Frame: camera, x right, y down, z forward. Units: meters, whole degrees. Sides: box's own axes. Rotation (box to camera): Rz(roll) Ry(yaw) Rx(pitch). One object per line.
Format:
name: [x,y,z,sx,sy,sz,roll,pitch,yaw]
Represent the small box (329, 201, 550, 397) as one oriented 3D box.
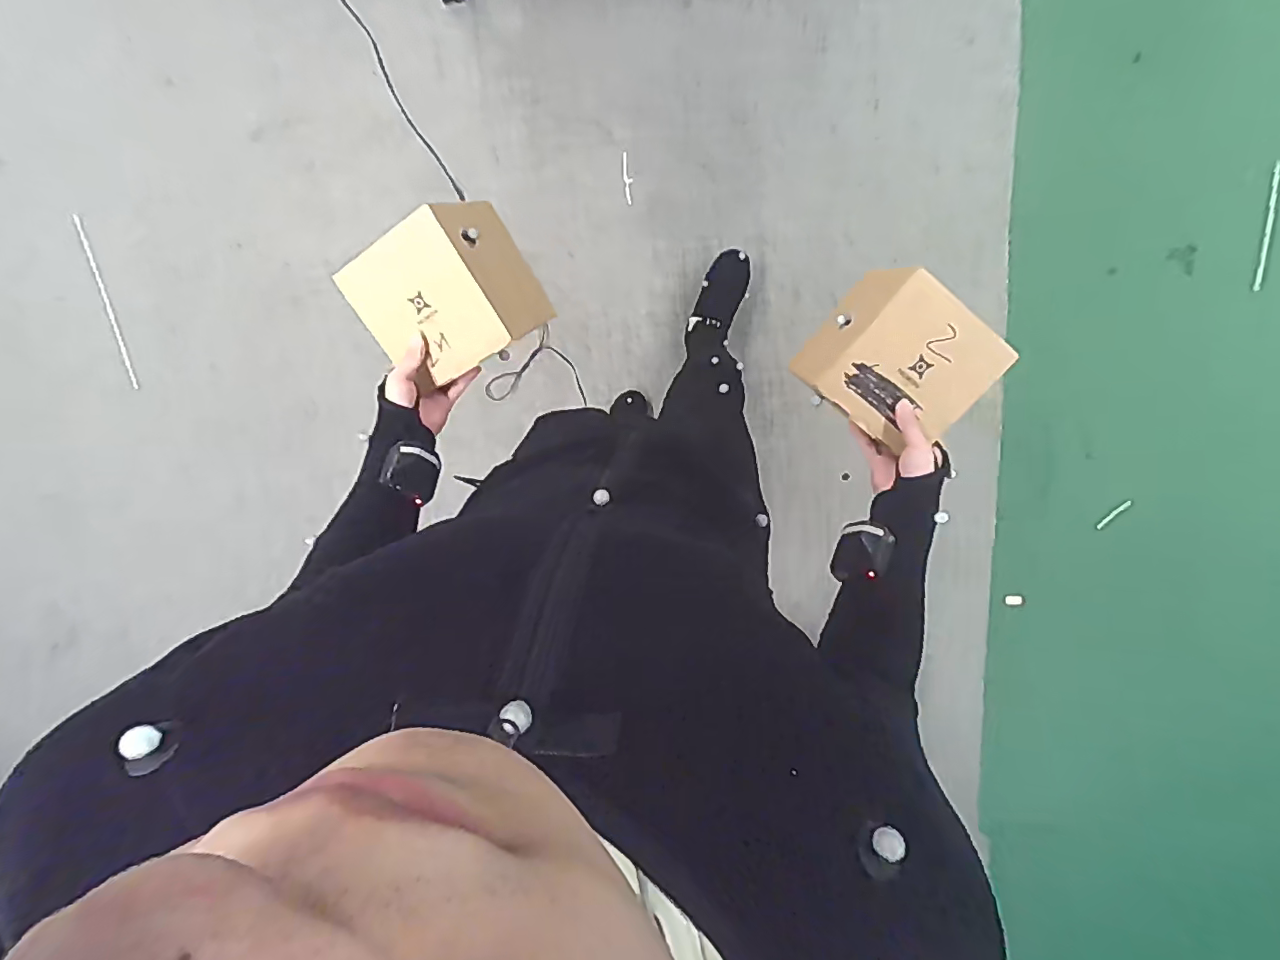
small box: [-0.248,-0.241,0.712,0.168,0.176,0.179,-23,111,22]
